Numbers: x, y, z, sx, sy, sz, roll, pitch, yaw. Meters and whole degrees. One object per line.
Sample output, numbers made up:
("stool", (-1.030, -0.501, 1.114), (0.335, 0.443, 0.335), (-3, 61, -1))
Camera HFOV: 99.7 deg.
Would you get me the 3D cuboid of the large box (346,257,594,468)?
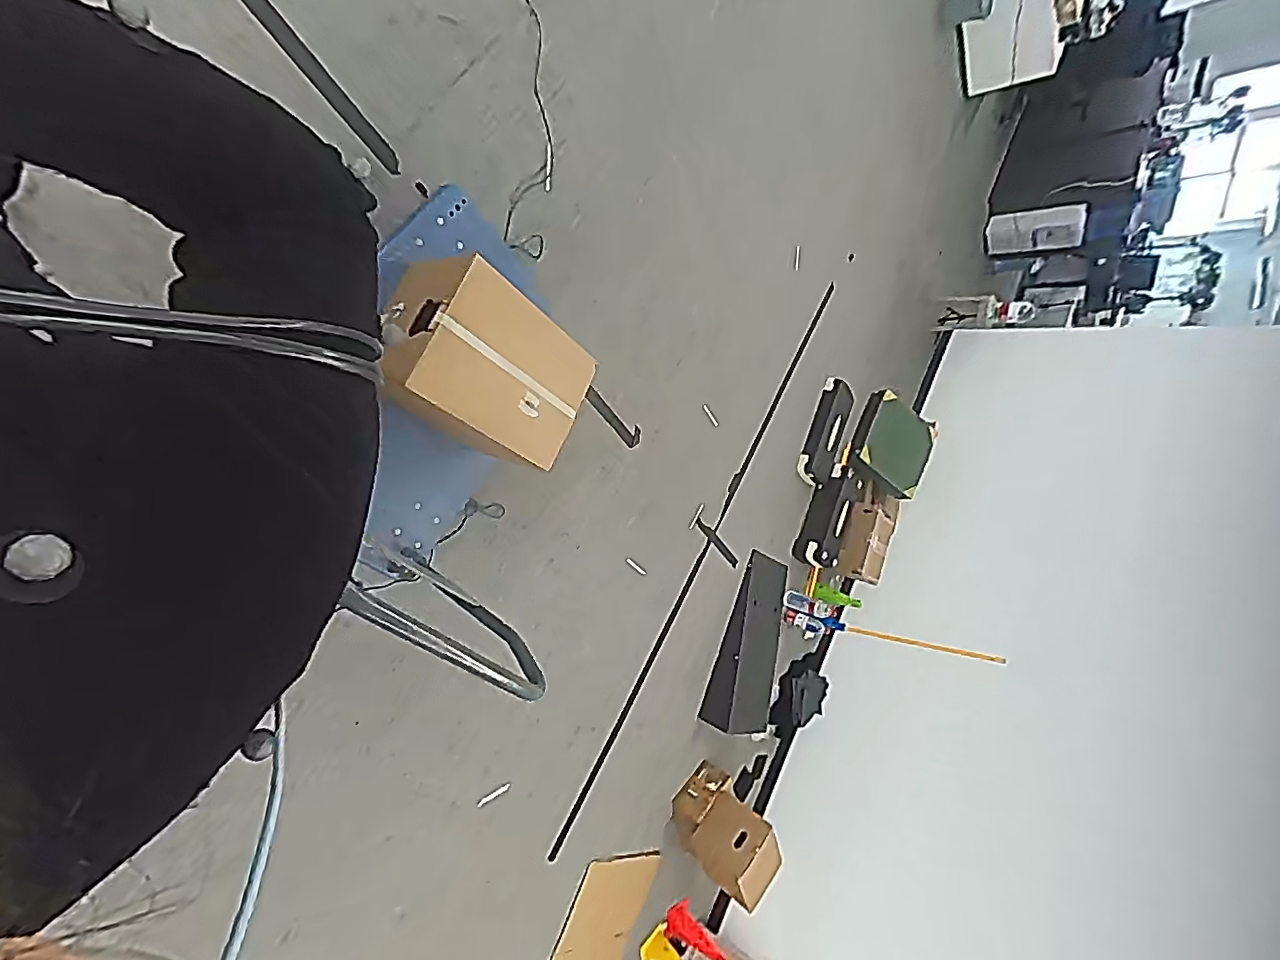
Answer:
("large box", (-0.394, -0.265, 1.293), (0.408, 0.320, 0.320), (36, 74, -47))
